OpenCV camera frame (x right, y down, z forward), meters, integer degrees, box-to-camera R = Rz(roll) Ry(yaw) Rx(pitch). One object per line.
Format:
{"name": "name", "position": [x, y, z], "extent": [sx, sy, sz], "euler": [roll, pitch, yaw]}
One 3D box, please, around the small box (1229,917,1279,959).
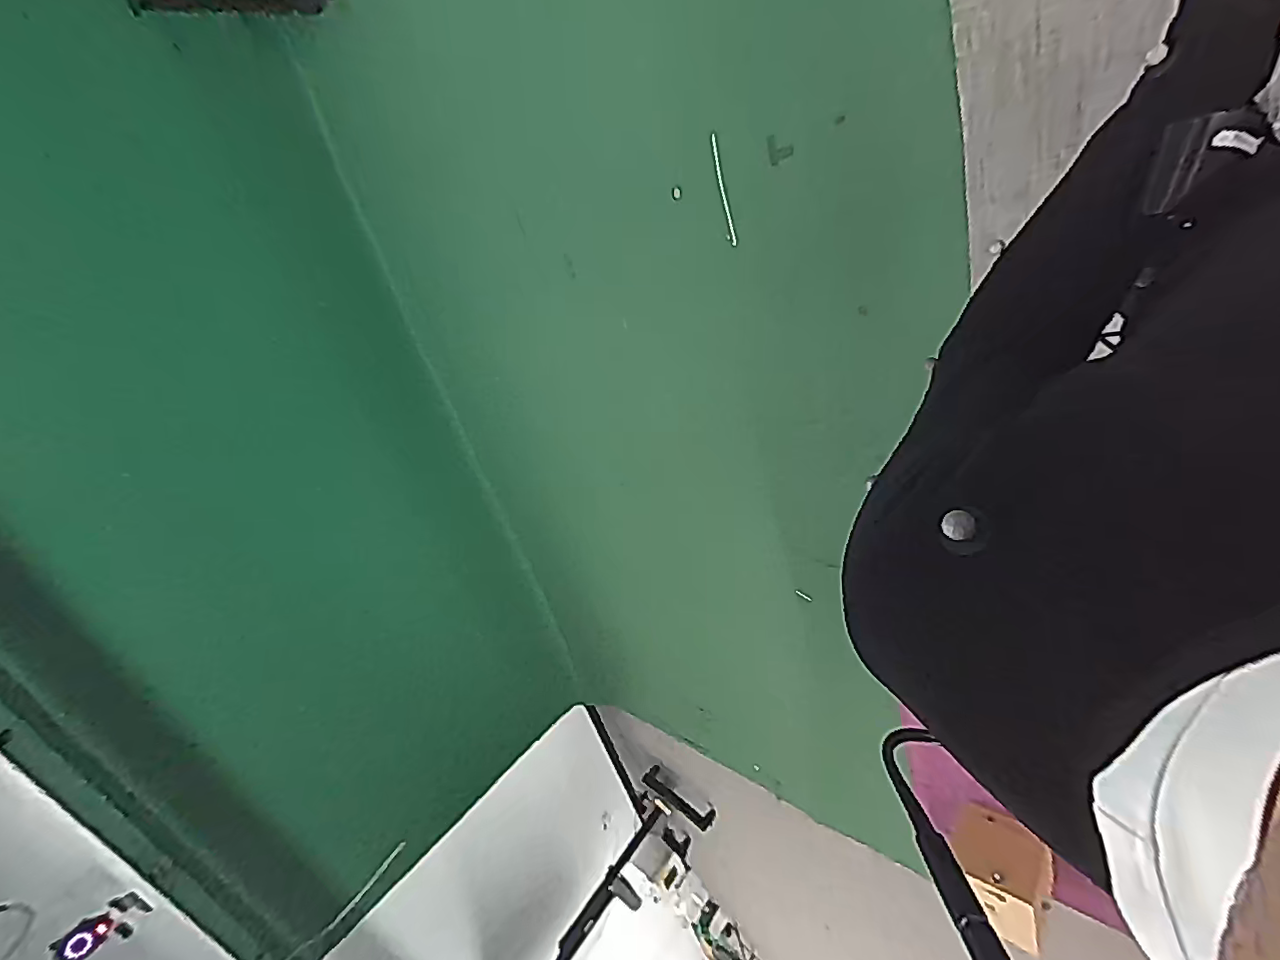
{"name": "small box", "position": [1.080, 0.878, 0.874], "extent": [0.168, 0.176, 0.179], "euler": [0, 118, 46]}

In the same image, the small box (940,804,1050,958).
{"name": "small box", "position": [0.780, 0.864, 1.182], "extent": [0.168, 0.176, 0.179], "euler": [2, 120, 45]}
